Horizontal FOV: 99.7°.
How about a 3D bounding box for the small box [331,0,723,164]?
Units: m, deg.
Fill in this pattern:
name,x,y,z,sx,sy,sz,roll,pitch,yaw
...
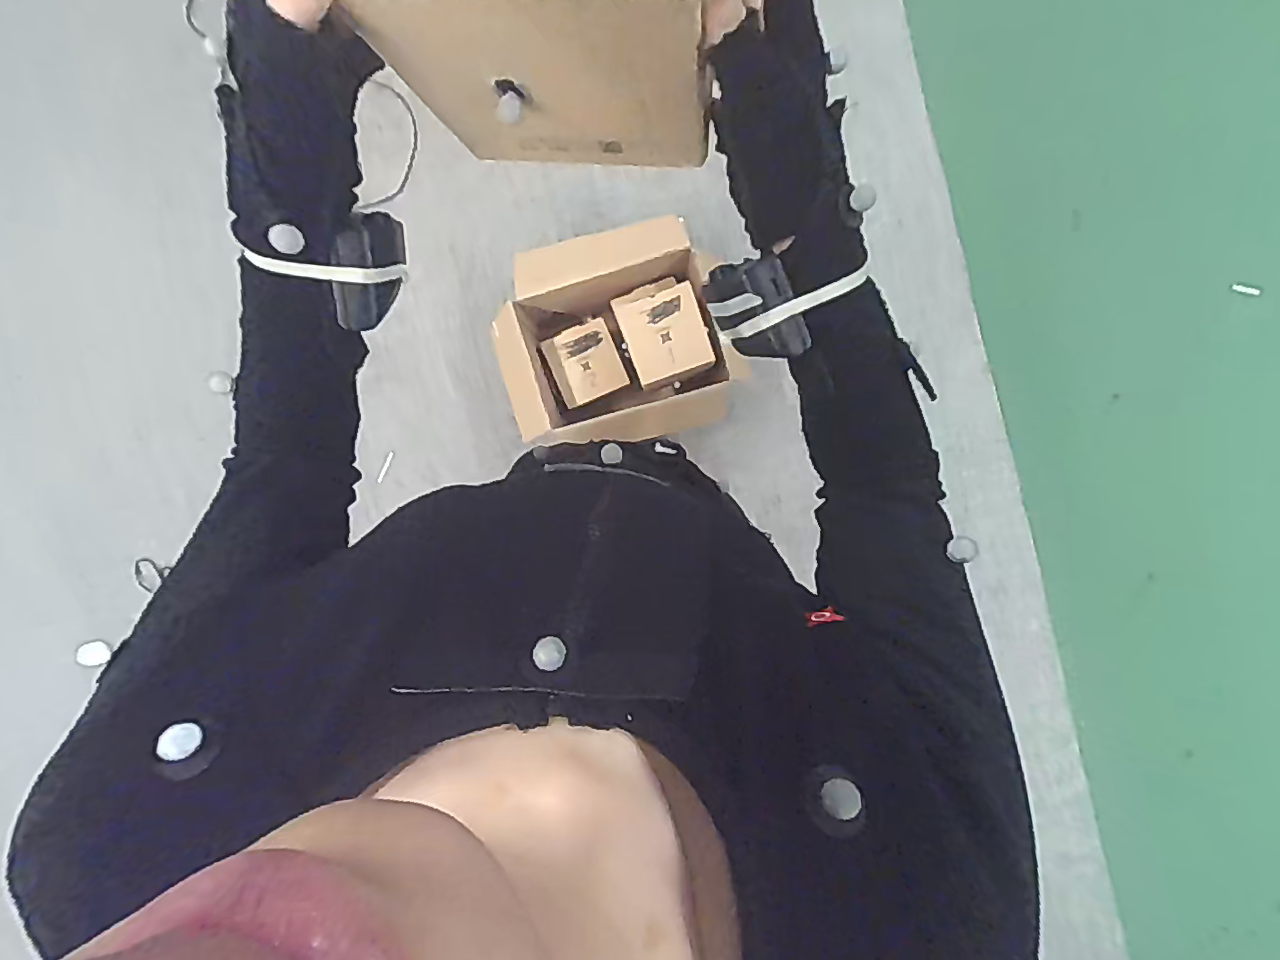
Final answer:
name,x,y,z,sx,sy,sz,roll,pitch,yaw
small box,-0.038,-0.294,0.287,0.168,0.176,0.179,6,98,6
